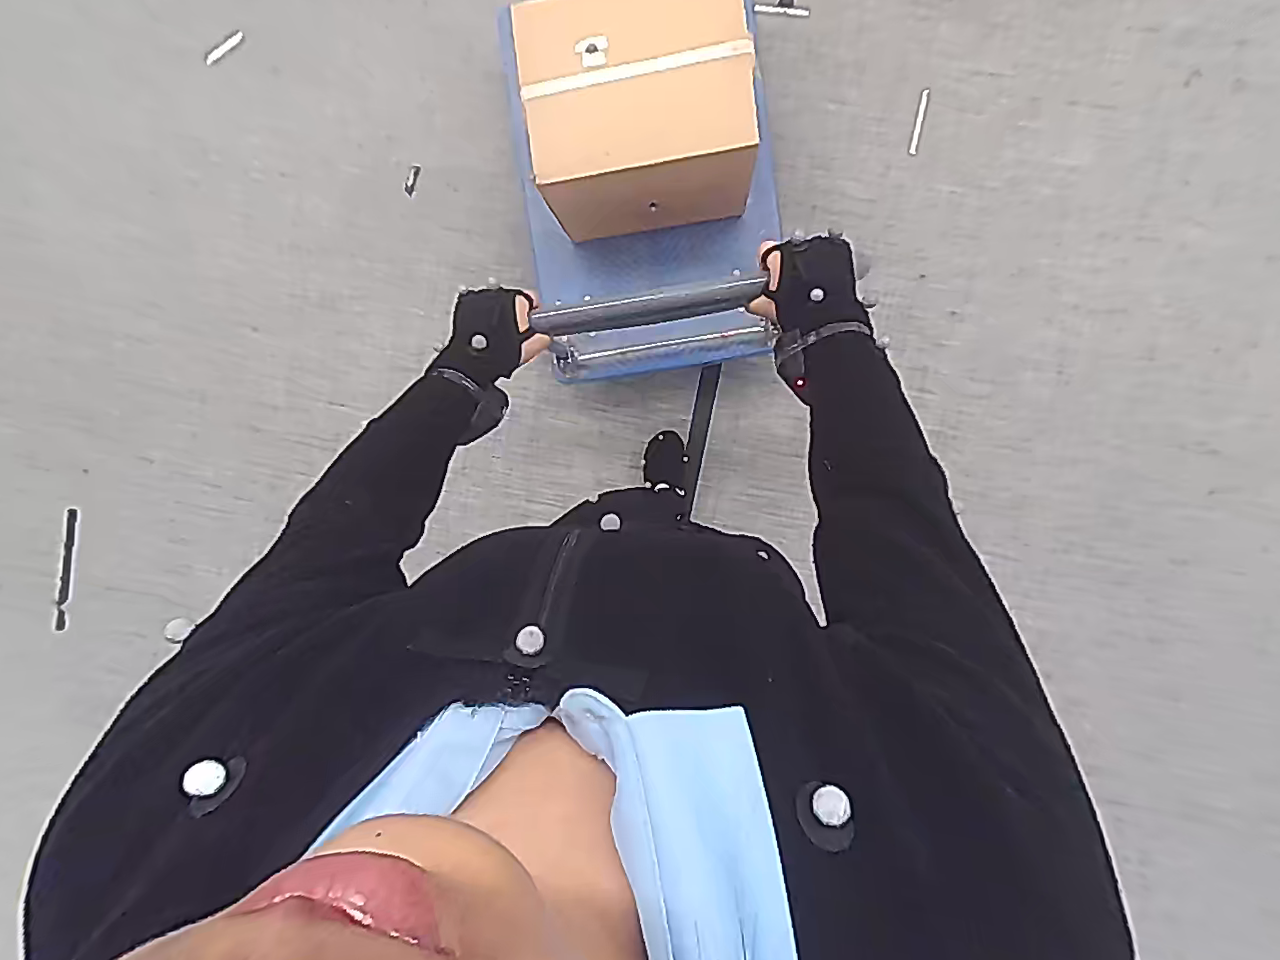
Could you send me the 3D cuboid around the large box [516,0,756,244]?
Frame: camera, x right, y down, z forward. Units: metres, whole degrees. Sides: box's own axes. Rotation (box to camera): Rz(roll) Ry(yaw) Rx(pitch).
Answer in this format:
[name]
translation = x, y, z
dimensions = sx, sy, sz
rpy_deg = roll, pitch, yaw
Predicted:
[large box]
translation = 0.007, -0.725, 1.115
dimensions = 0.408, 0.320, 0.320
rpy_deg = -7, 93, 7
